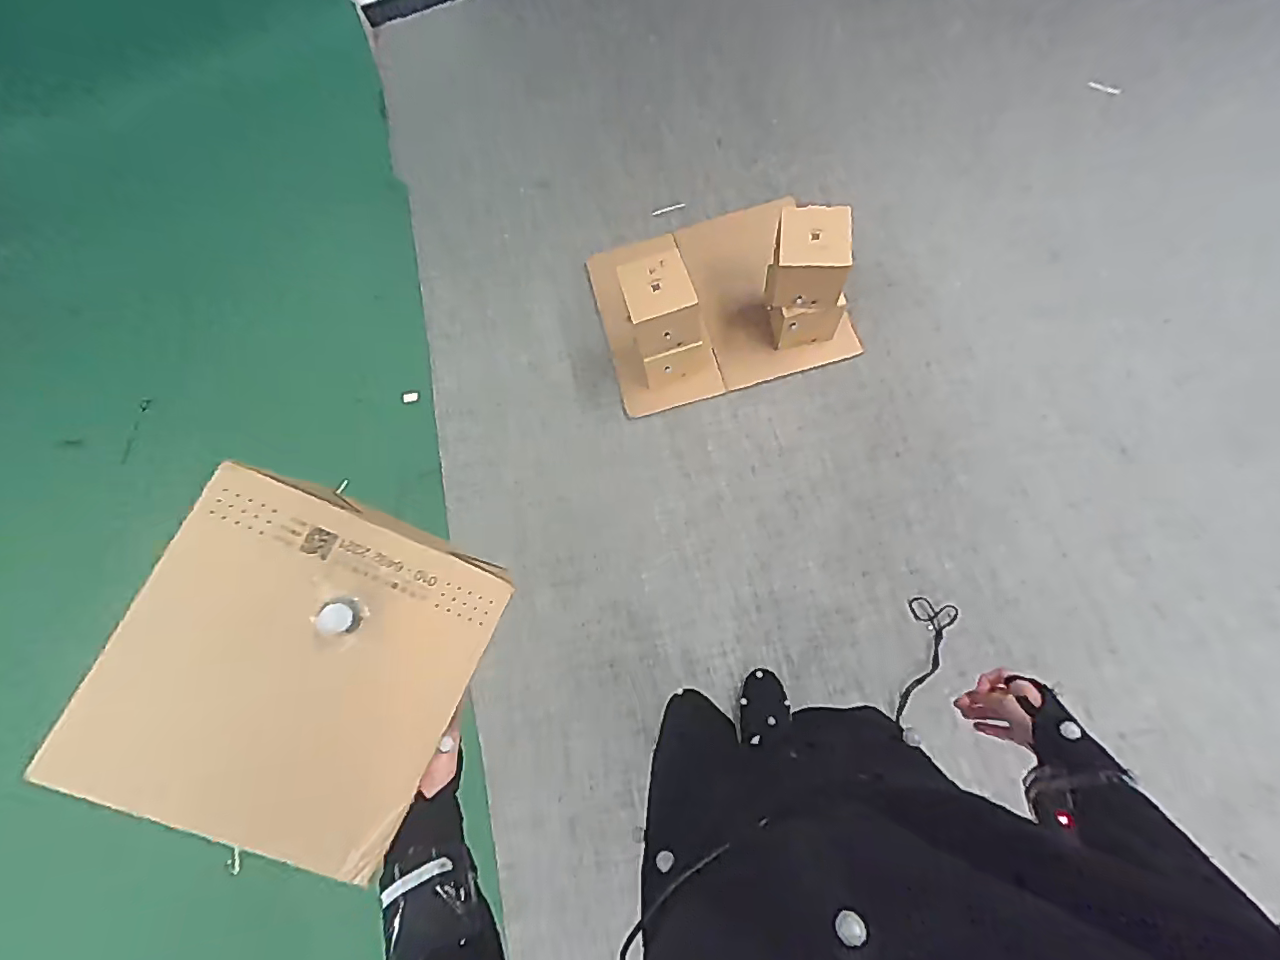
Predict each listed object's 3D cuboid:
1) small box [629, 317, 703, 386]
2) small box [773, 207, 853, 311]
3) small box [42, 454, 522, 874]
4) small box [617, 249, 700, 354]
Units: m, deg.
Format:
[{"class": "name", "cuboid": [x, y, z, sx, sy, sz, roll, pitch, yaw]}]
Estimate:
[{"class": "small box", "cuboid": [0.078, -0.386, 1.527, 0.168, 0.176, 0.179, -17, 69, 2]}, {"class": "small box", "cuboid": [0.428, -0.552, 1.355, 0.168, 0.176, 0.179, 4, 72, 8]}, {"class": "small box", "cuboid": [-0.189, 0.101, 0.357, 0.168, 0.179, 0.176, 26, 76, -10]}, {"class": "small box", "cuboid": [0.053, -0.442, 1.373, 0.168, 0.176, 0.179, -17, 70, 2]}]
